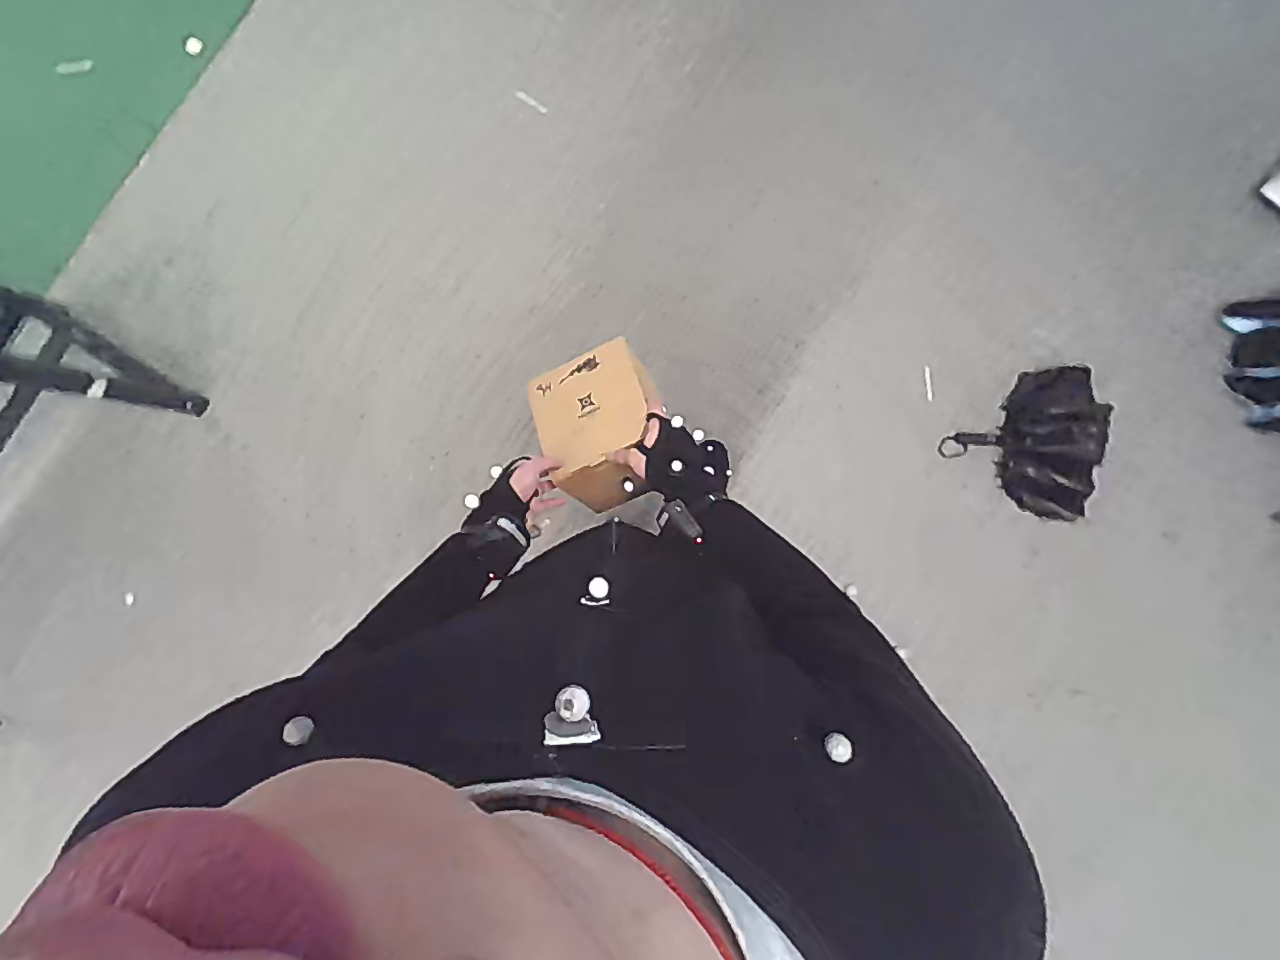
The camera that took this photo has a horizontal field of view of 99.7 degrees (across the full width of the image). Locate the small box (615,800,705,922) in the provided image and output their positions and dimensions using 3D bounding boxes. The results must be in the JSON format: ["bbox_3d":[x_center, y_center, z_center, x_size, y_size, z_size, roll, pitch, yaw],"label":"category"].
[{"bbox_3d":[0.056,1.020,1.465,0.179,0.176,0.168,38,90,4],"label":"small box"}]

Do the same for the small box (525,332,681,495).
[{"bbox_3d":[-0.051,-0.090,0.849,0.168,0.176,0.179,-25,66,12],"label":"small box"}]
